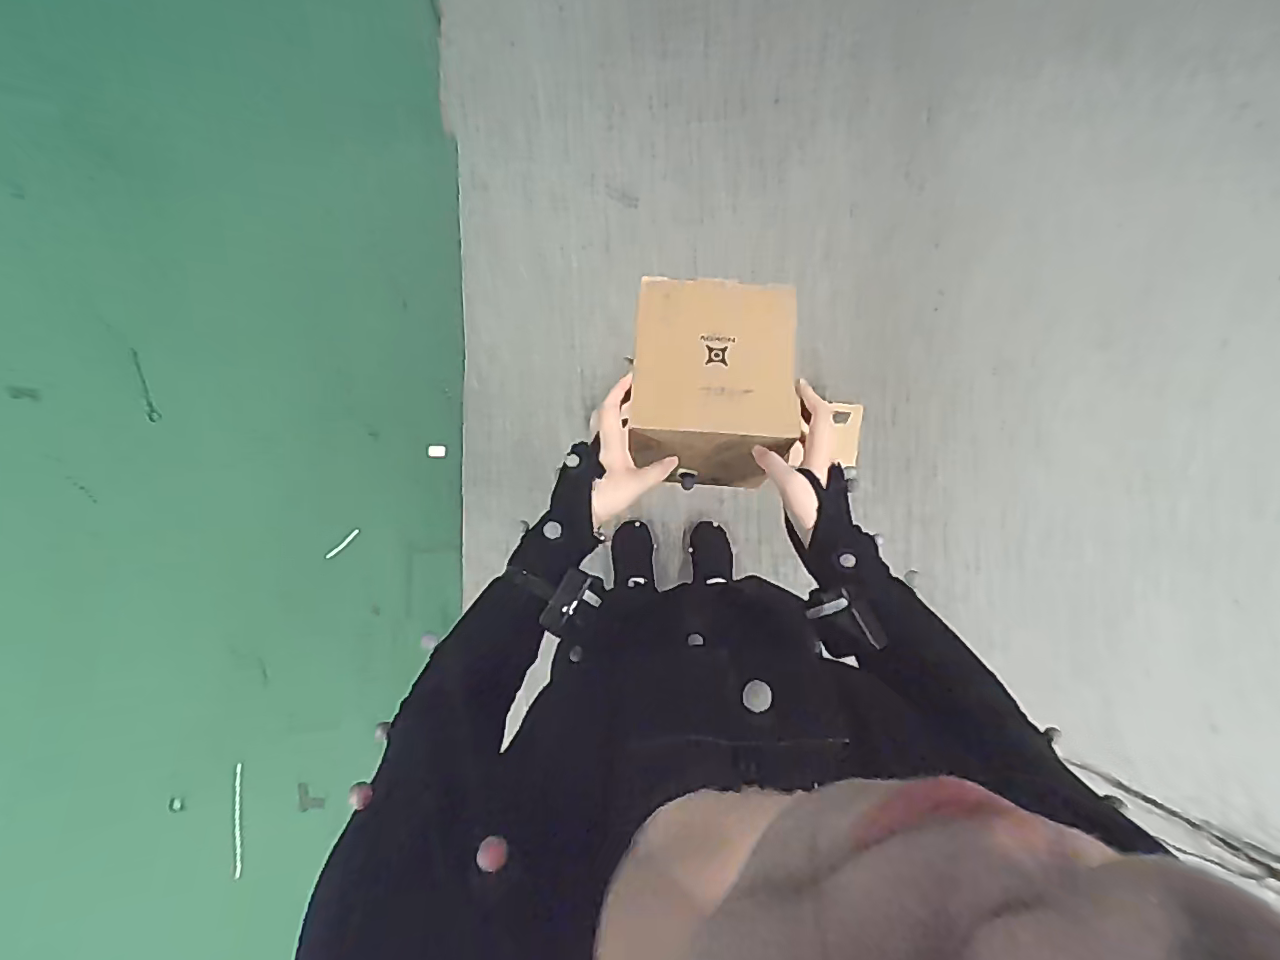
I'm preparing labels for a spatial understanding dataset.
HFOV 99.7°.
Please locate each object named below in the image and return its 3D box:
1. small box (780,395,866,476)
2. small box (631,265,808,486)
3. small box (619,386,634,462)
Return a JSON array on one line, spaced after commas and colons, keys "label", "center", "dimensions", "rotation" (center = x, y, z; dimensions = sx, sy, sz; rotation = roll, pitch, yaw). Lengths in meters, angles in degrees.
[{"label": "small box", "center": [0.463, -0.111, 1.396], "dimensions": [0.168, 0.176, 0.179], "rotation": [8, 89, 3]}, {"label": "small box", "center": [0.077, -0.106, 0.595], "dimensions": [0.168, 0.176, 0.179], "rotation": [3, 72, 1]}, {"label": "small box", "center": [0.036, -0.147, 1.410], "dimensions": [0.168, 0.176, 0.179], "rotation": [-6, 88, 2]}]
